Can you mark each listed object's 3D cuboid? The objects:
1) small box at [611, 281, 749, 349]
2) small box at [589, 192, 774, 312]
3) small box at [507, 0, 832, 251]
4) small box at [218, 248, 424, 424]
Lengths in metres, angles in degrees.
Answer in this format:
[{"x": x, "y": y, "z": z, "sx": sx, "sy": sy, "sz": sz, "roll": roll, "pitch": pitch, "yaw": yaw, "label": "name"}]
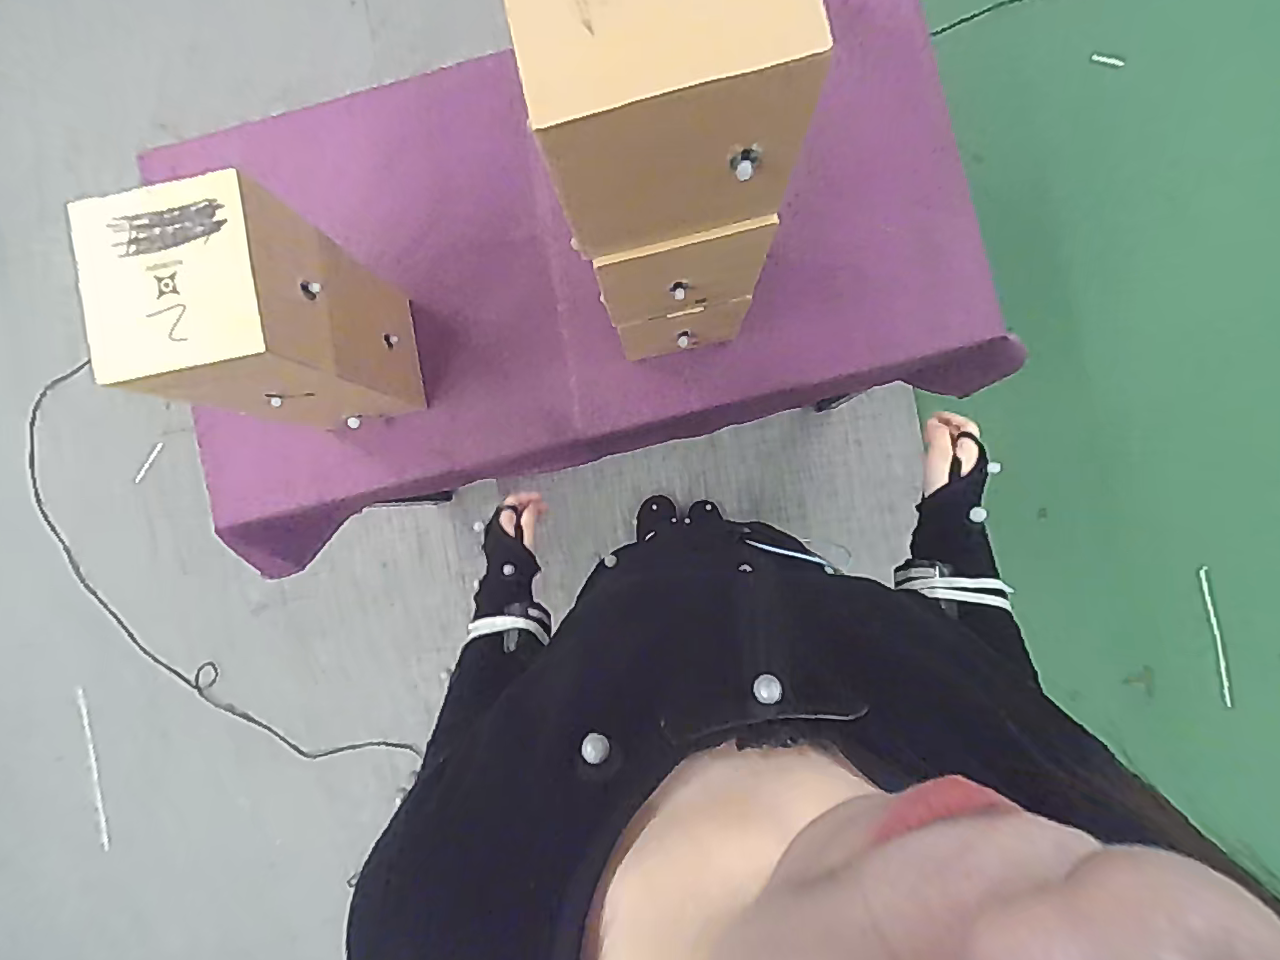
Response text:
[{"x": 0.037, "y": -0.283, "z": 0.715, "sx": 0.168, "sy": 0.176, "sz": 0.179, "roll": -12, "pitch": 89, "yaw": 2, "label": "small box"}, {"x": 0.025, "y": -0.285, "z": 0.550, "sx": 0.168, "sy": 0.176, "sz": 0.179, "roll": -12, "pitch": 88, "yaw": 2, "label": "small box"}, {"x": 0.012, "y": -0.293, "z": 0.387, "sx": 0.179, "sy": 0.176, "sz": 0.168, "roll": -12, "pitch": 87, "yaw": 3, "label": "small box"}, {"x": -0.418, "y": -0.183, "z": 0.735, "sx": 0.168, "sy": 0.176, "sz": 0.179, "roll": -11, "pitch": 89, "yaw": 3, "label": "small box"}]
